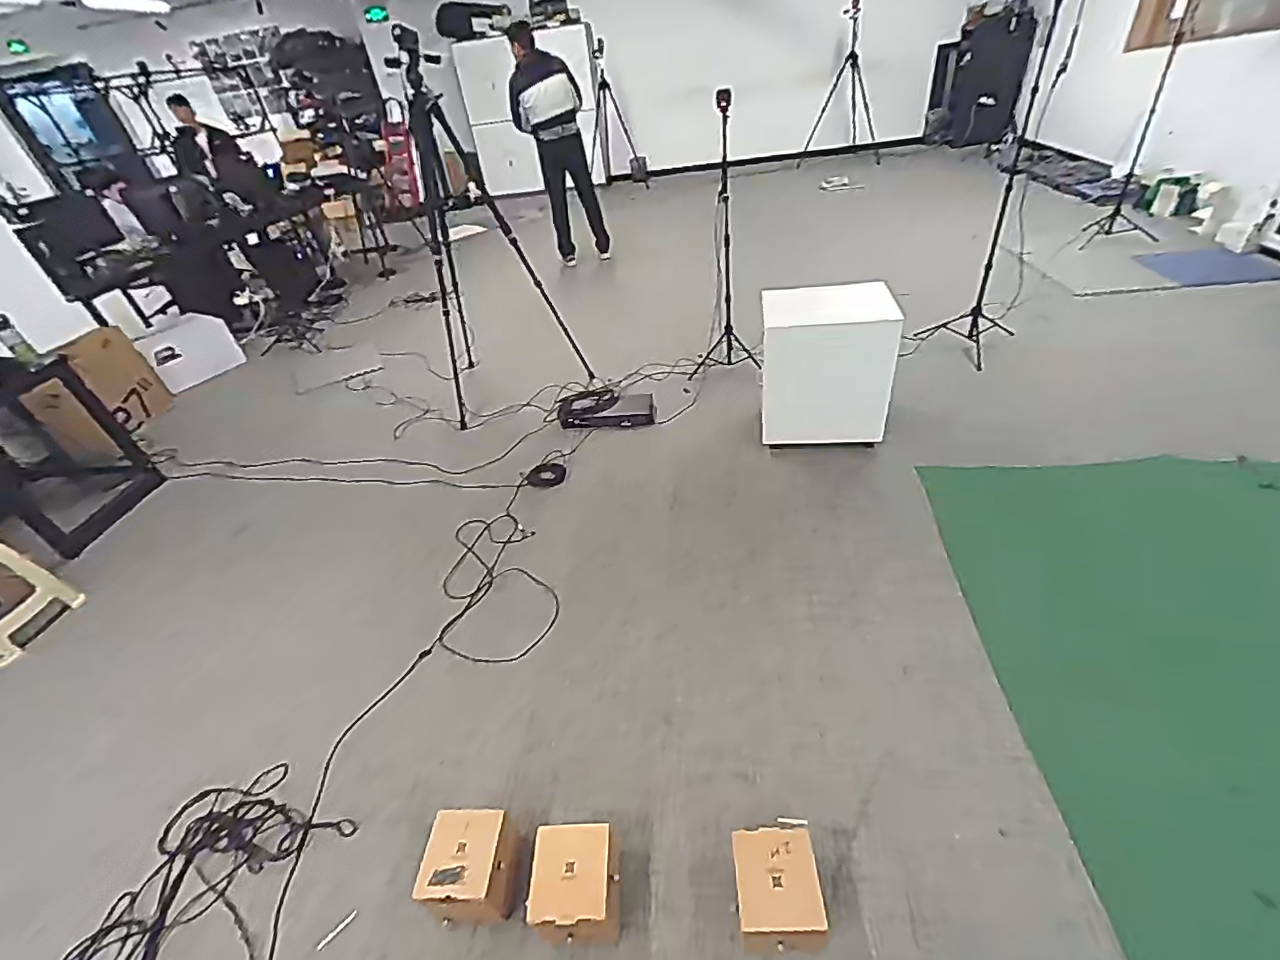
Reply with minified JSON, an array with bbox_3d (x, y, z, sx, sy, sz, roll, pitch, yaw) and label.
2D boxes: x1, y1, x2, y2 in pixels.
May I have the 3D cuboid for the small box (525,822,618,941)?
[{"bbox_3d":[-0.143,0.888,1.196,0.168,0.176,0.179,-6,40,4],"label":"small box"}]

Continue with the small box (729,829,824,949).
[{"bbox_3d":[0.280,0.866,1.143,0.168,0.176,0.179,-4,39,4],"label":"small box"}]

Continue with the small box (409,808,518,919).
[{"bbox_3d":[-0.394,0.884,1.246,0.168,0.176,0.179,-4,38,6],"label":"small box"}]
